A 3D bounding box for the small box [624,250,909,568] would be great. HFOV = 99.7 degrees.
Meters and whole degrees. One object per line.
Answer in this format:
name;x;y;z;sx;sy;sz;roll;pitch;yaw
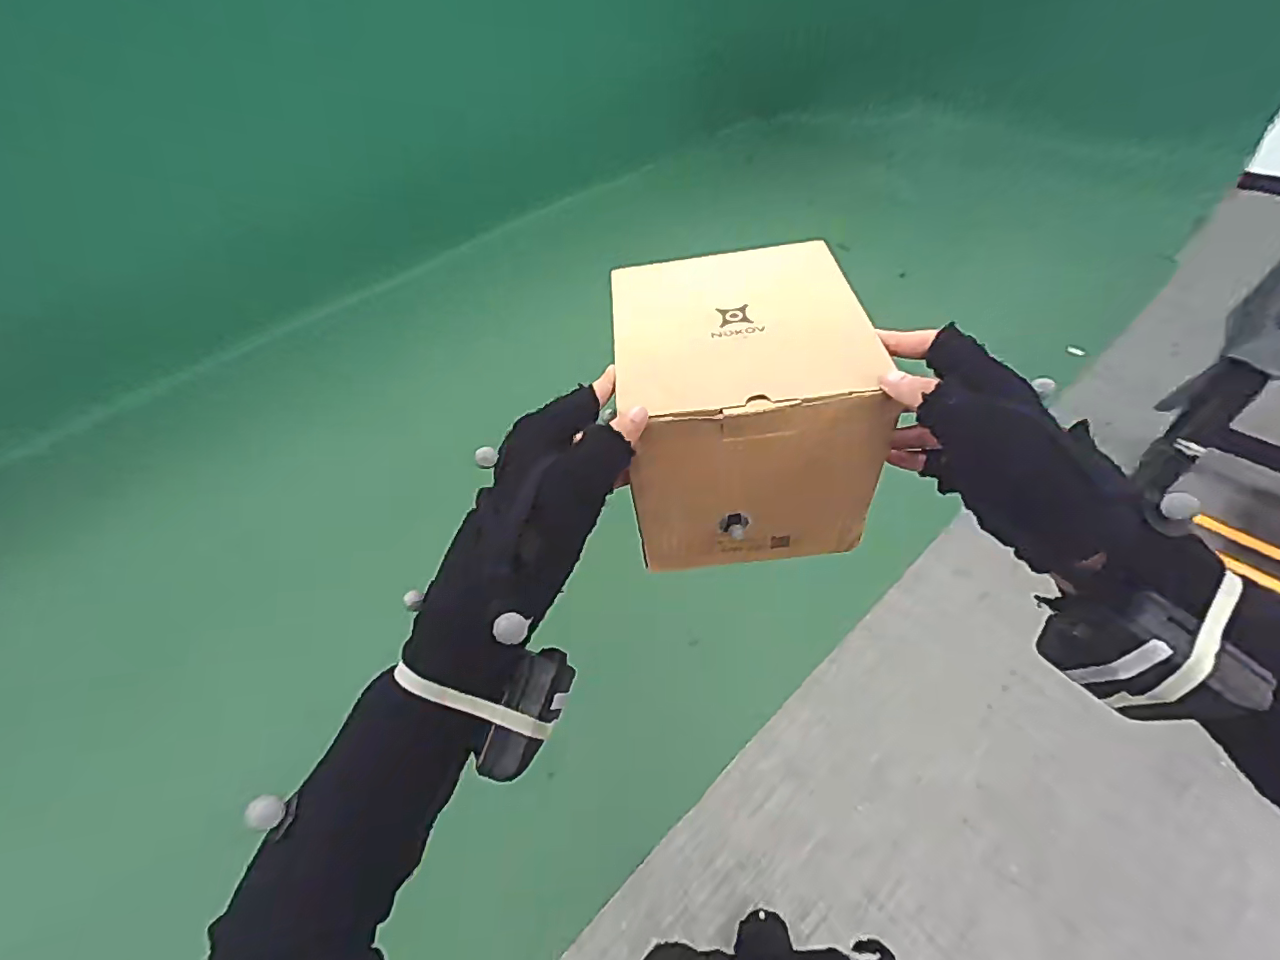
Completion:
small box;0.078;-0.052;0.426;0.168;0.176;0.179;-6;50;3
